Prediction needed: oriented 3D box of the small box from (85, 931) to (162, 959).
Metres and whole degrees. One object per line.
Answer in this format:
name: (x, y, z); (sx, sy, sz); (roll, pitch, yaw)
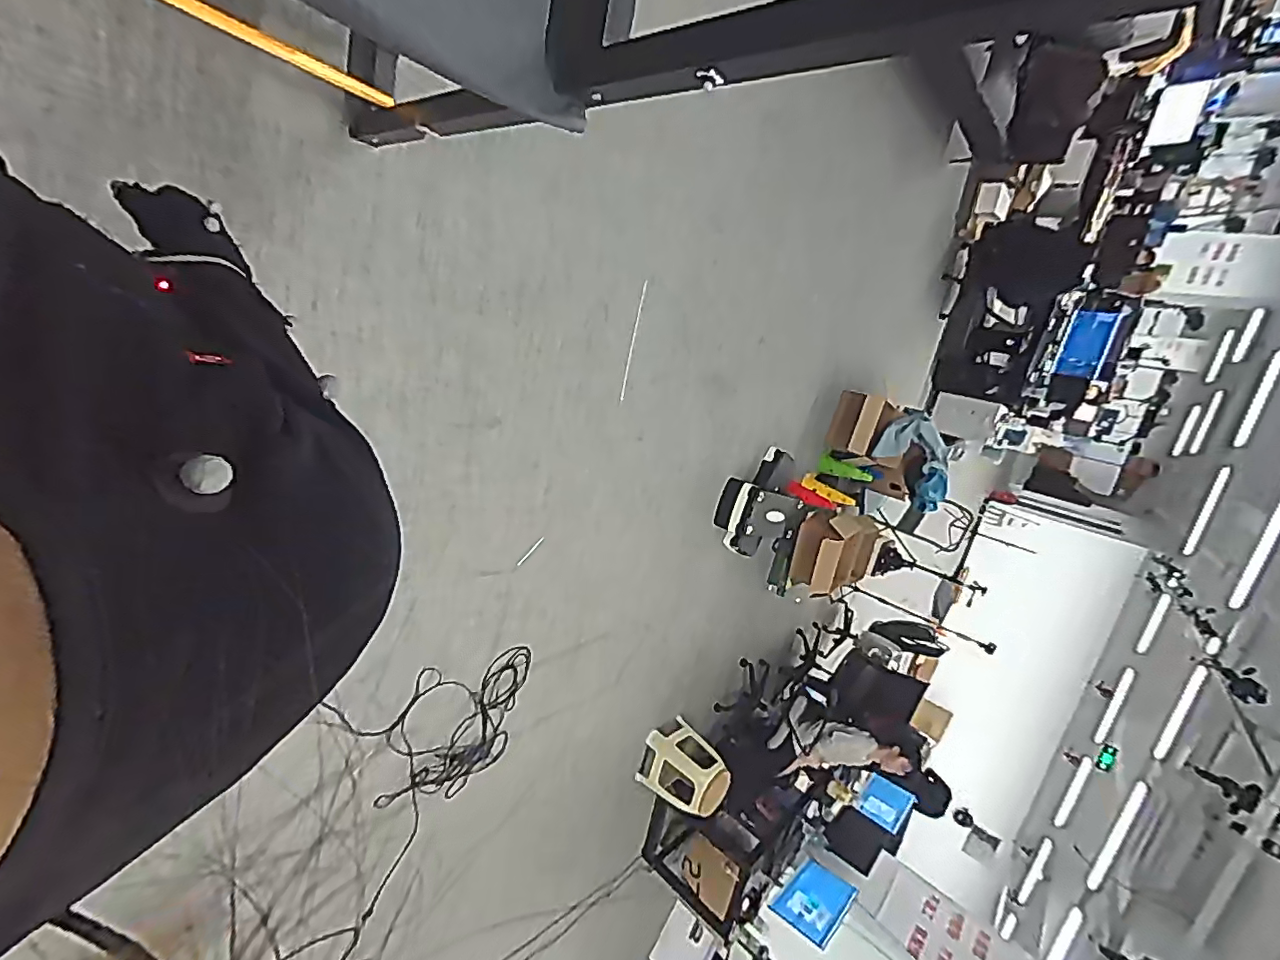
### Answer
small box: (-1.341, 1.330, 1.387); (0.168, 0.176, 0.179); (-1, 108, -50)
